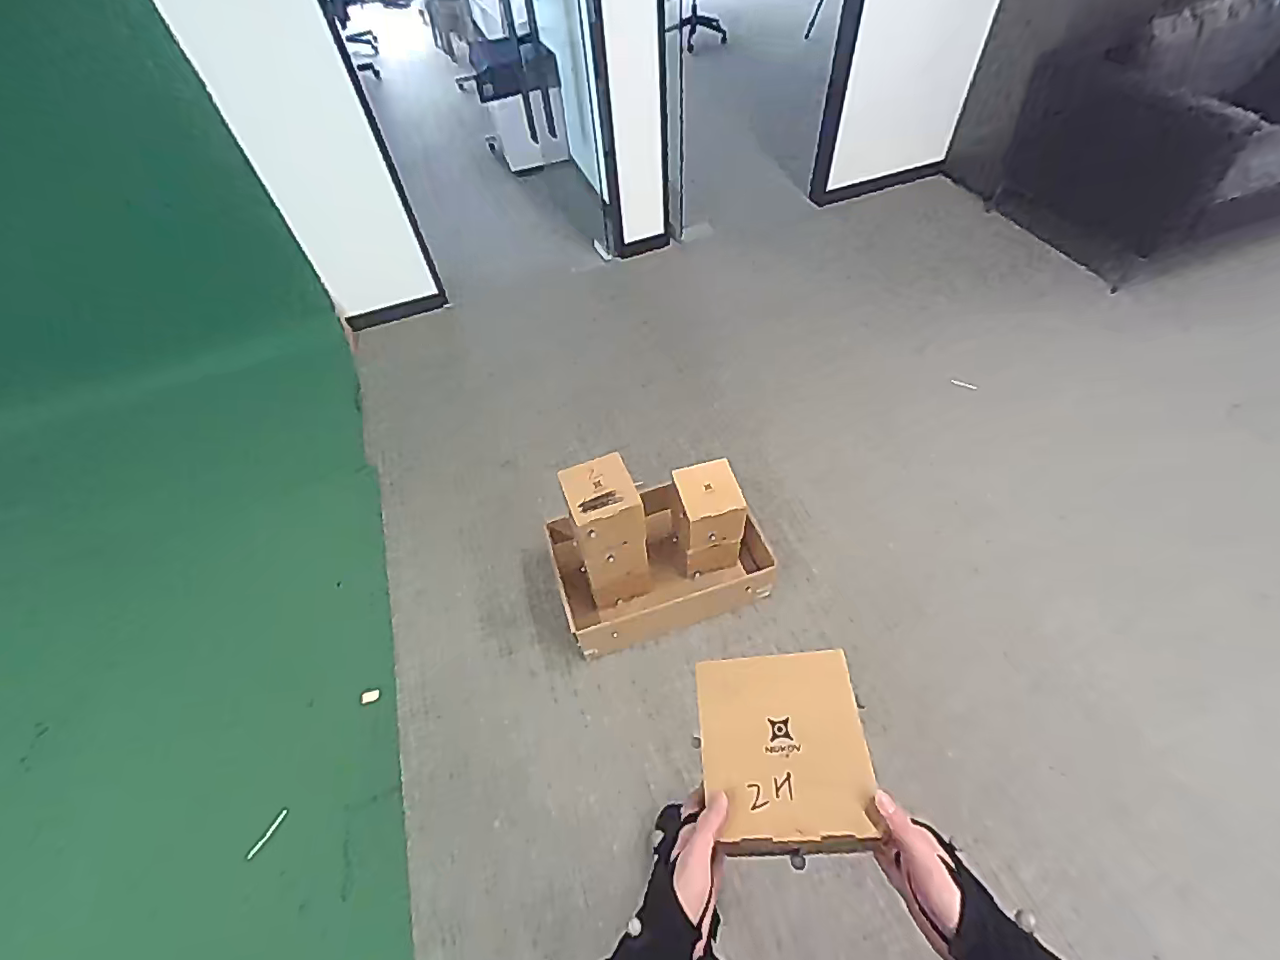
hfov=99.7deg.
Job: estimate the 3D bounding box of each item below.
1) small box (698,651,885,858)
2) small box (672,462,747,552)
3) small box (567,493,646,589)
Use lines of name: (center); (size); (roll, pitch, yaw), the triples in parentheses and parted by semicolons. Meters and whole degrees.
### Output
small box: (0.160, 0.314, 0.613); (0.168, 0.176, 0.179); (-8, 50, 10)
small box: (0.189, 0.078, 1.546); (0.168, 0.176, 0.179); (-13, 55, -7)
small box: (-0.091, 0.172, 1.495); (0.168, 0.176, 0.179); (-19, 54, -10)
